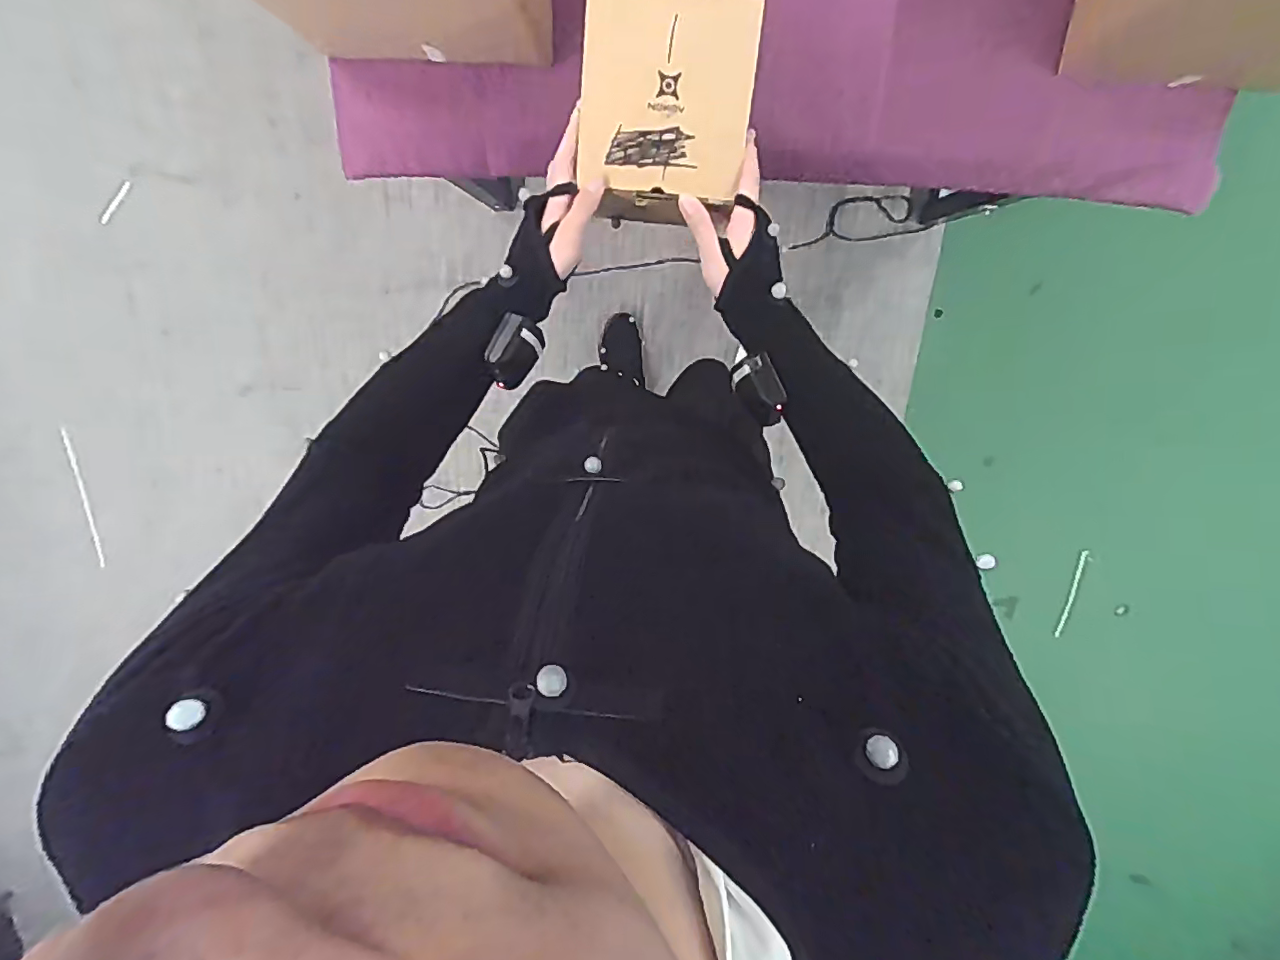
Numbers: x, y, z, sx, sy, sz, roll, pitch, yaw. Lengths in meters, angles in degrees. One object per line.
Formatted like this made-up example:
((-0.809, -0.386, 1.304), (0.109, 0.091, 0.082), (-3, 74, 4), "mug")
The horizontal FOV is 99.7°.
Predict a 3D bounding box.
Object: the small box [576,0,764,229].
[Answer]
((0.027, -0.386, 0.593), (0.168, 0.176, 0.179), (5, 106, -1), "small box")
